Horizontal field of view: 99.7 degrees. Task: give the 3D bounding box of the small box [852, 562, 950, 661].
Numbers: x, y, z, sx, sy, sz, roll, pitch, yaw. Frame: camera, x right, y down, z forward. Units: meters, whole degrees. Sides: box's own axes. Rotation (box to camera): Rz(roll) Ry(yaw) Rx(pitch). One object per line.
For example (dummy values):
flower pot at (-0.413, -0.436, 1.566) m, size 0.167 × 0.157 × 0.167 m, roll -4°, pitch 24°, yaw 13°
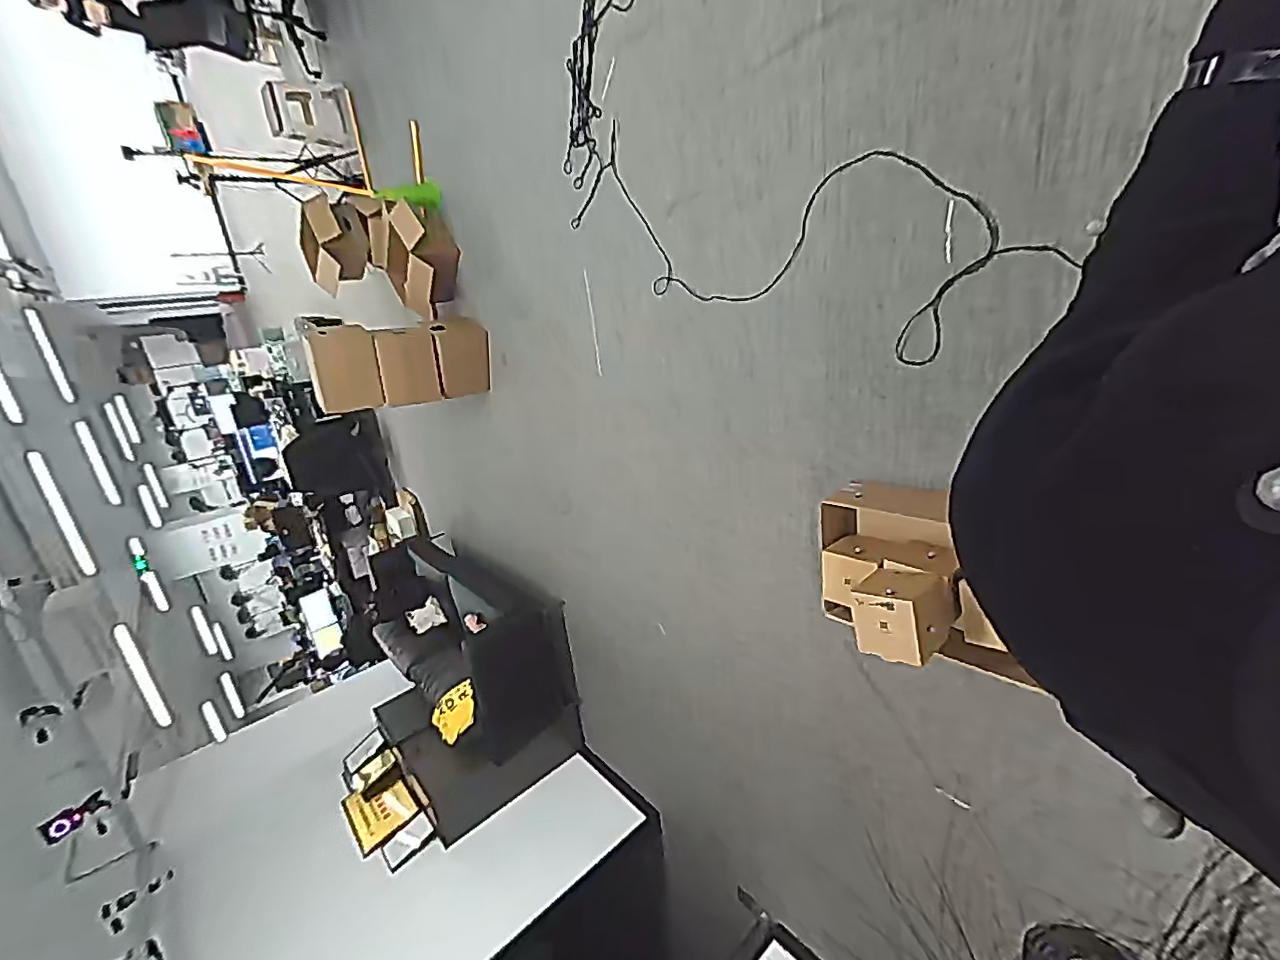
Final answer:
small box at (0.680, 0.333, 1.399) m, size 0.168 × 0.176 × 0.179 m, roll 0°, pitch 106°, yaw 51°
